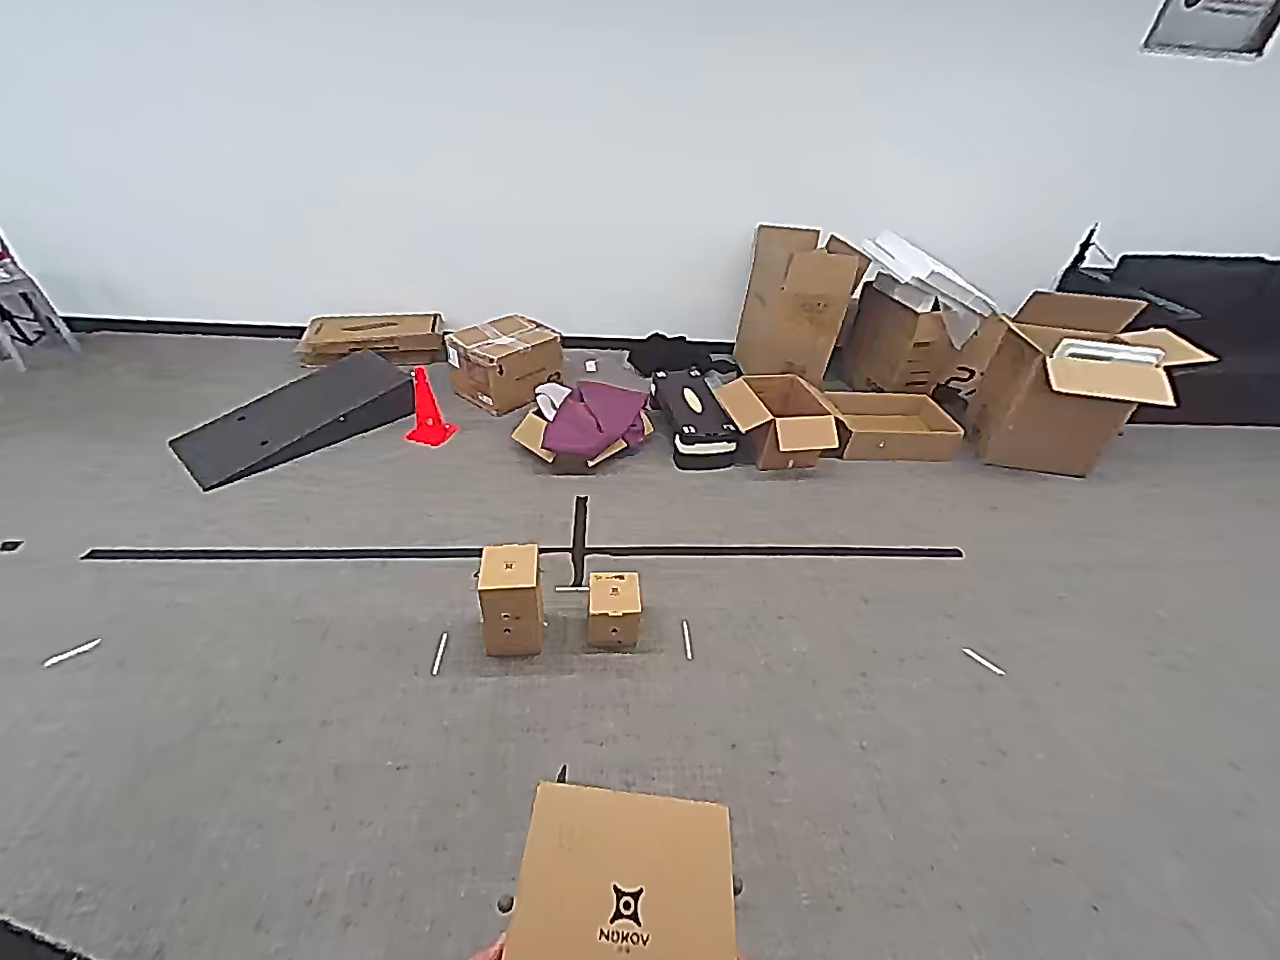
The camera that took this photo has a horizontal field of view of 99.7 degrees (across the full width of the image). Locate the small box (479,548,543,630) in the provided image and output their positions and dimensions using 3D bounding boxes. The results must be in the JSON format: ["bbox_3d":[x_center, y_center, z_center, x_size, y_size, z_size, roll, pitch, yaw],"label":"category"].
[{"bbox_3d":[-0.387,0.331,1.645,0.168,0.176,0.179,-3,39,-7],"label":"small box"}]

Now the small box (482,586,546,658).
[{"bbox_3d":[-0.401,0.459,1.745,0.179,0.176,0.168,0,37,-7],"label":"small box"}]

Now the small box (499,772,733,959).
[{"bbox_3d":[-0.021,0.378,0.448,0.168,0.176,0.179,7,38,0],"label":"small box"}]

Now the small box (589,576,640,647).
[{"bbox_3d":[-0.086,0.442,1.803,0.168,0.176,0.179,1,38,-5],"label":"small box"}]
